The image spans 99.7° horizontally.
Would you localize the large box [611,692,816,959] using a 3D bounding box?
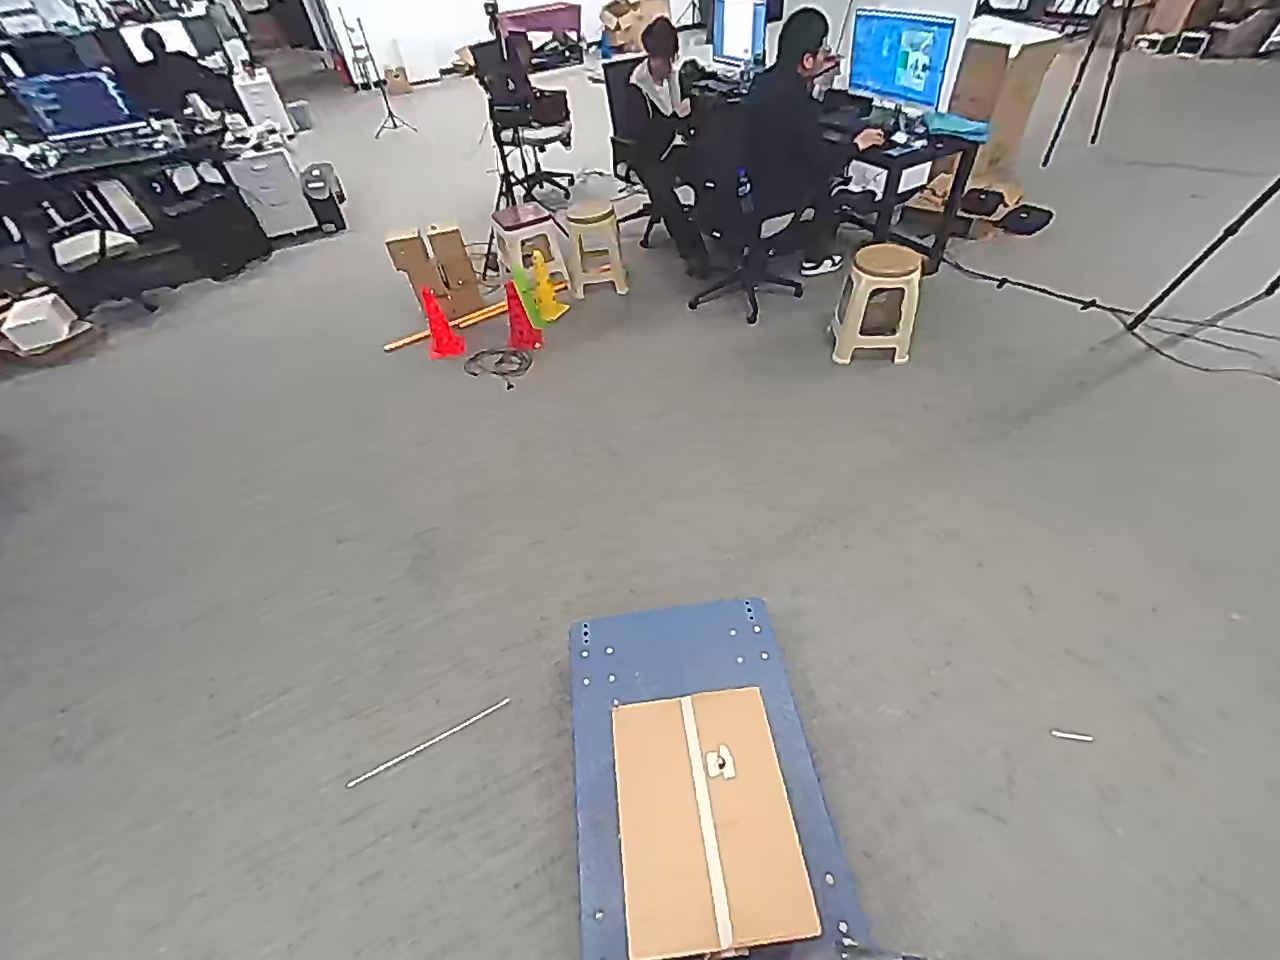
[{"bbox_3d":[0.127,0.713,1.113,0.320,0.320,0.408,-7,47,-1],"label":"large box"}]
